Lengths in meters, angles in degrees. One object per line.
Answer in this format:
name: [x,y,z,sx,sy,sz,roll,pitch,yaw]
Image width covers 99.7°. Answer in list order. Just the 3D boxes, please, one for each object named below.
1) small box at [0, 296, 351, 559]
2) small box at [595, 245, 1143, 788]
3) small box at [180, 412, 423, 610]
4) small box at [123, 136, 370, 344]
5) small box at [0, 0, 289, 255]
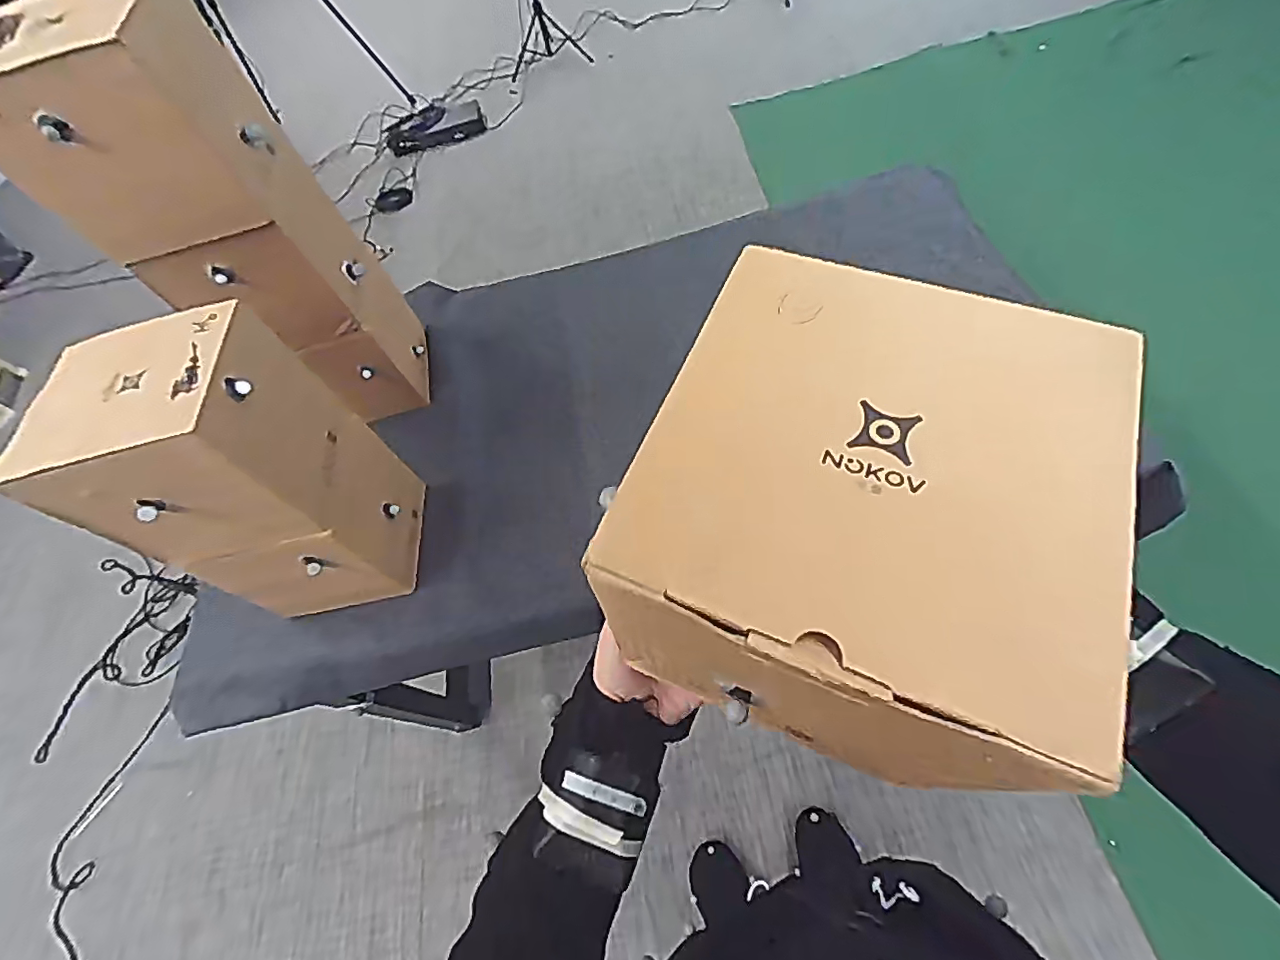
small box: [-0.422,-0.041,0.527,0.179,0.176,0.168,-15,57,3]
small box: [0.095,0.024,0.269,0.168,0.176,0.179,19,65,14]
small box: [-0.389,0.045,0.662,0.179,0.176,0.168,-12,57,5]
small box: [-0.471,-0.282,0.678,0.179,0.176,0.168,-16,62,1]
small box: [-0.492,-0.353,0.530,0.179,0.176,0.168,-14,61,2]
